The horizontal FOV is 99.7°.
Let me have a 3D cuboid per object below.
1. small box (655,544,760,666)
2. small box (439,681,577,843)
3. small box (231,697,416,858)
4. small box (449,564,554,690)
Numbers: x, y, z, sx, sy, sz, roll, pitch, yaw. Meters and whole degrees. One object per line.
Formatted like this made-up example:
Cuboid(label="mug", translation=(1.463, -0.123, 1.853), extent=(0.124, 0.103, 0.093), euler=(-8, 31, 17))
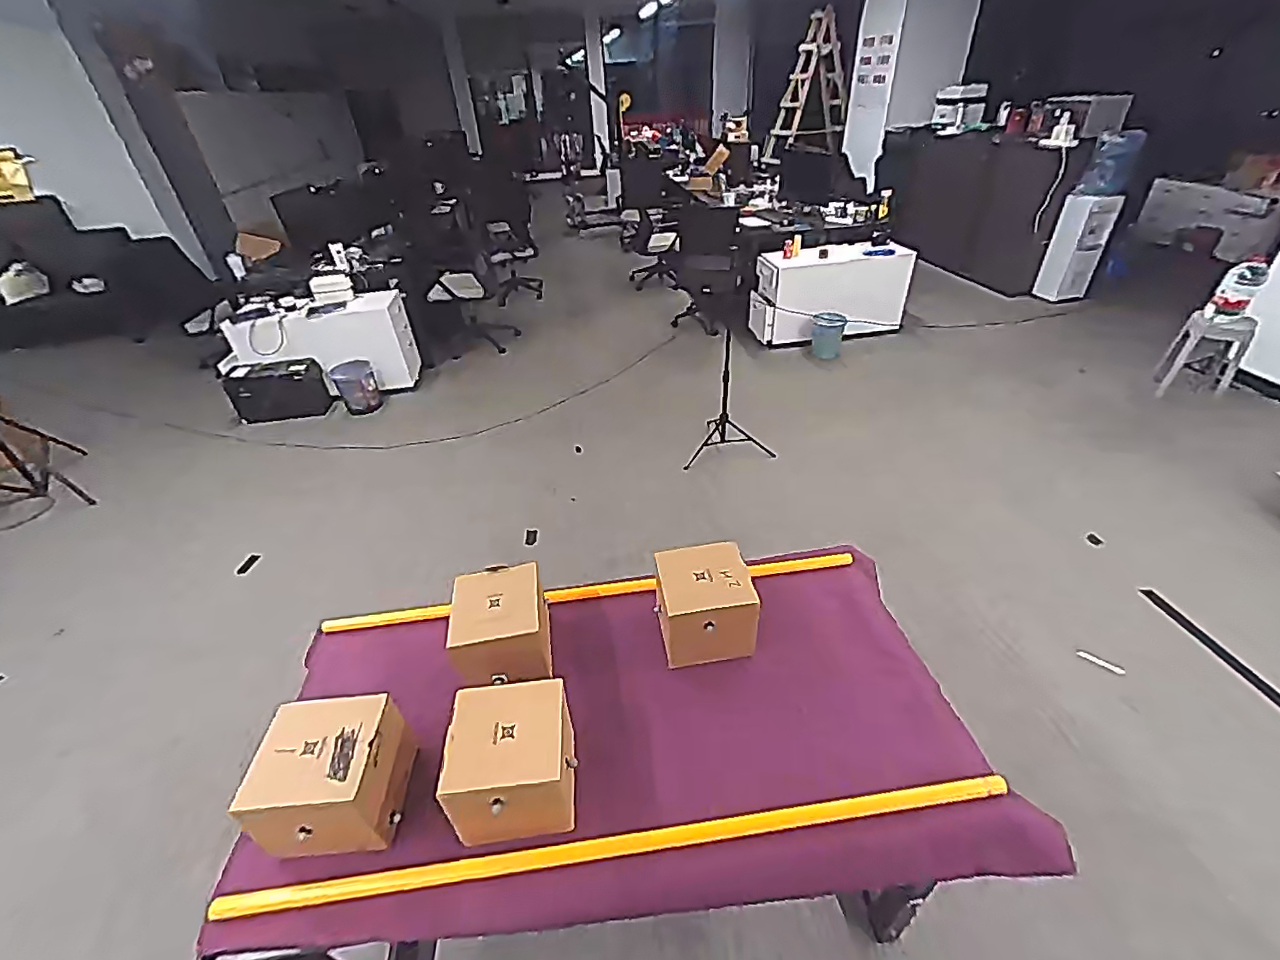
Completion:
Cuboid(label="small box", translation=(0.131, 0.254, 1.095), extent=(0.179, 0.176, 0.168), euler=(-7, 38, -4))
Cuboid(label="small box", translation=(-0.195, 0.448, 0.862), extent=(0.179, 0.176, 0.168), euler=(-6, 36, -2))
Cuboid(label="small box", translation=(-0.478, 0.469, 0.854), extent=(0.179, 0.176, 0.168), euler=(-4, 36, -1))
Cuboid(label="small box", translation=(-0.268, 0.297, 1.075), extent=(0.168, 0.176, 0.179), euler=(-9, 37, -6))
